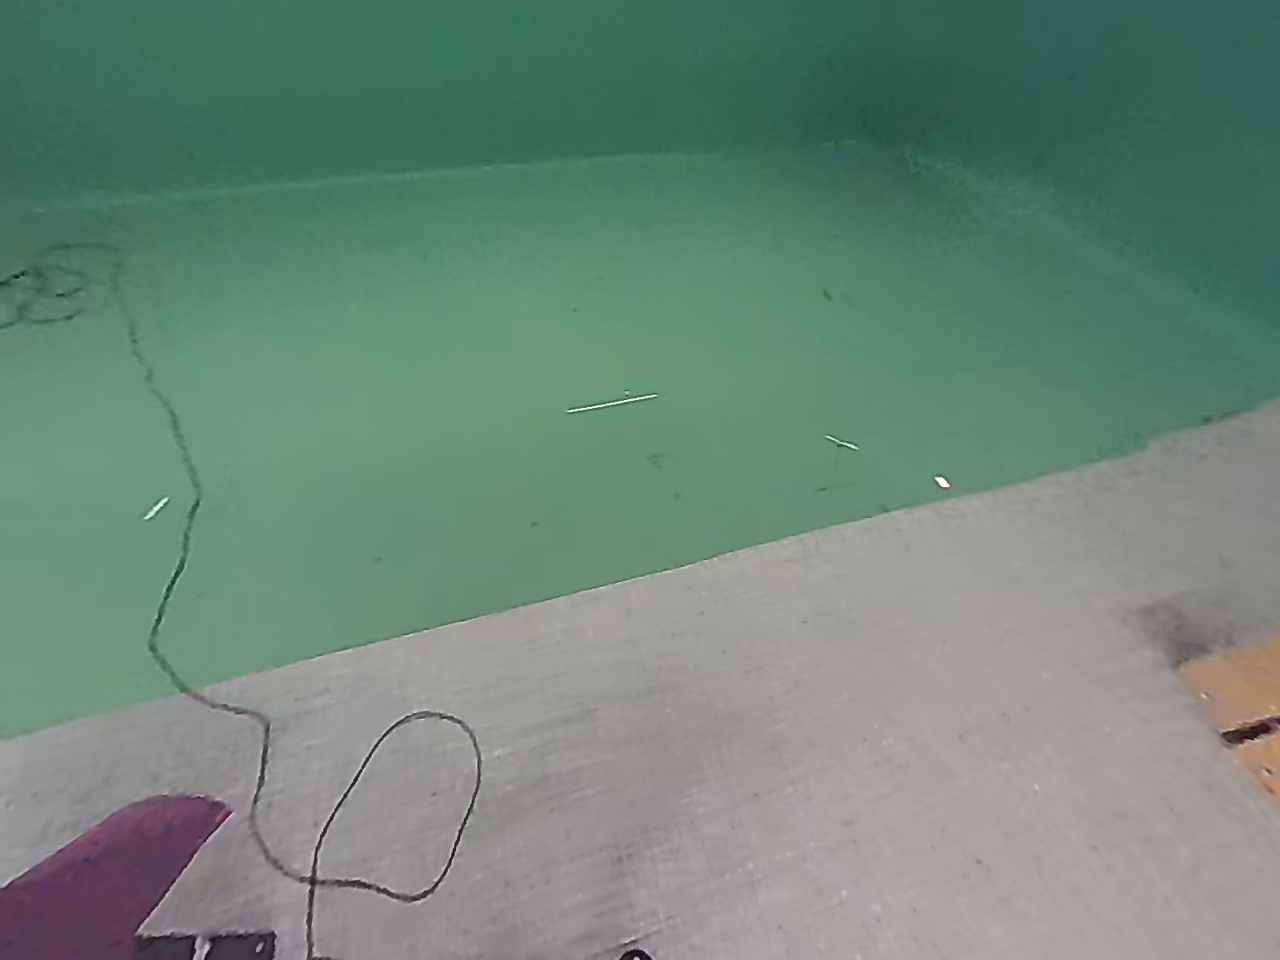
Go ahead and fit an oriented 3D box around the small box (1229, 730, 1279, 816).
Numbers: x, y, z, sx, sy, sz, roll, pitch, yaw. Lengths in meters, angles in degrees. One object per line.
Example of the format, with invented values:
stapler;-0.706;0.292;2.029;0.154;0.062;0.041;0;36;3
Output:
small box;1.627;0.702;1.314;0.179;0.176;0.168;-13;52;-11
